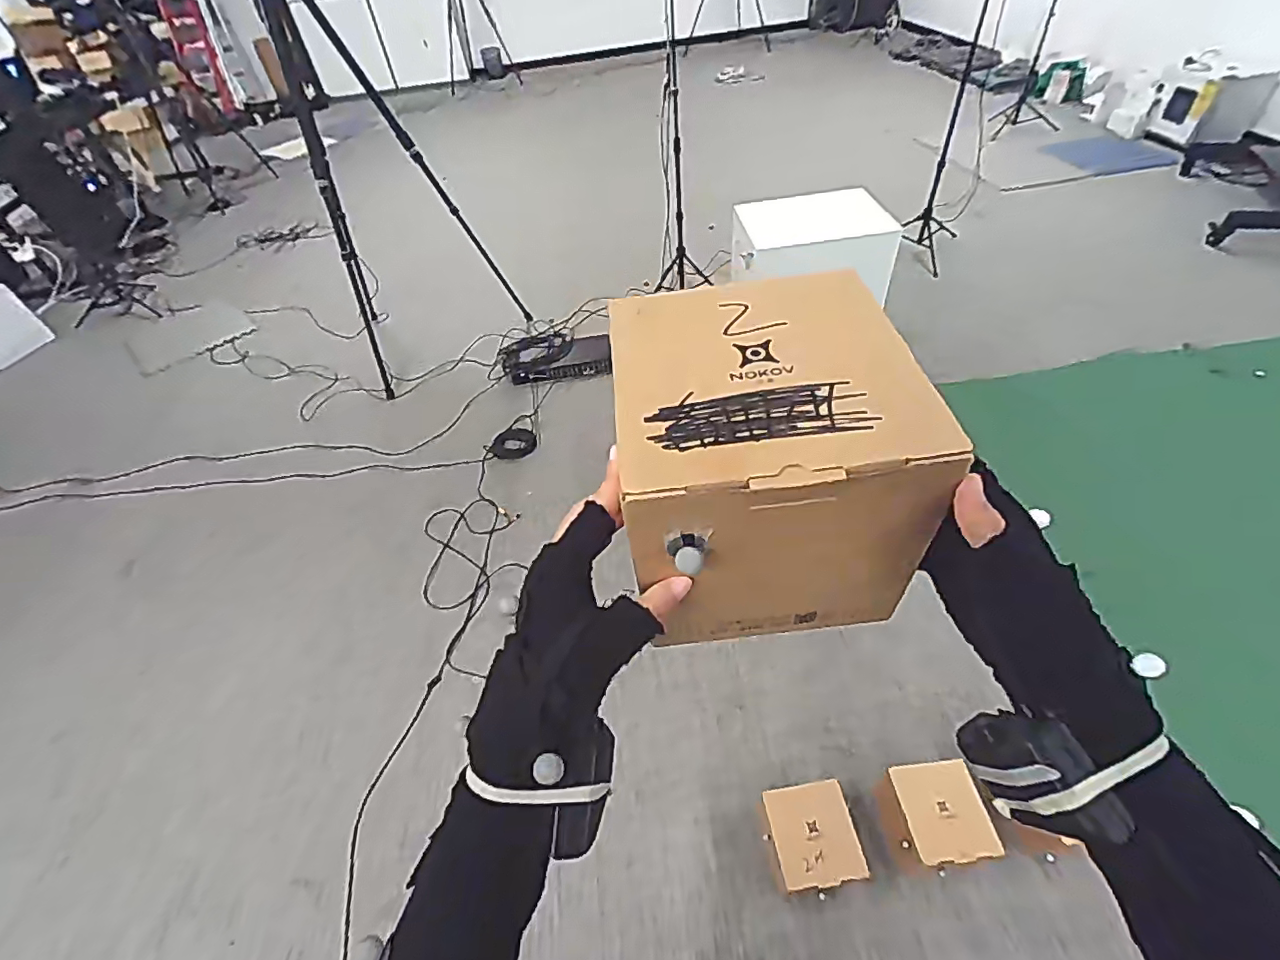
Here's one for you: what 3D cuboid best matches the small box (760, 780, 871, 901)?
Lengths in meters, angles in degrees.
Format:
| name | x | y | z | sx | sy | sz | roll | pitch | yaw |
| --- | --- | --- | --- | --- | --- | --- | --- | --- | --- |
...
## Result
| name | x | y | z | sx | sy | sz | roll | pitch | yaw |
| --- | --- | --- | --- | --- | --- | --- | --- | --- | --- |
| small box | 0.358 | 0.762 | 1.141 | 0.168 | 0.176 | 0.179 | -10 | 48 | 0 |

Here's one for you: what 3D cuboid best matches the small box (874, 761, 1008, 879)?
| name | x | y | z | sx | sy | sz | roll | pitch | yaw |
| --- | --- | --- | --- | --- | --- | --- | --- | --- | --- |
| small box | 0.623 | 0.723 | 1.148 | 0.168 | 0.176 | 0.179 | -7 | 48 | 0 |

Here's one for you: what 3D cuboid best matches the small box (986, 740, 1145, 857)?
| name | x | y | z | sx | sy | sz | roll | pitch | yaw |
| --- | --- | --- | --- | --- | --- | --- | --- | --- | --- |
| small box | 0.889 | 0.682 | 1.152 | 0.168 | 0.176 | 0.179 | -10 | 47 | -2 |
